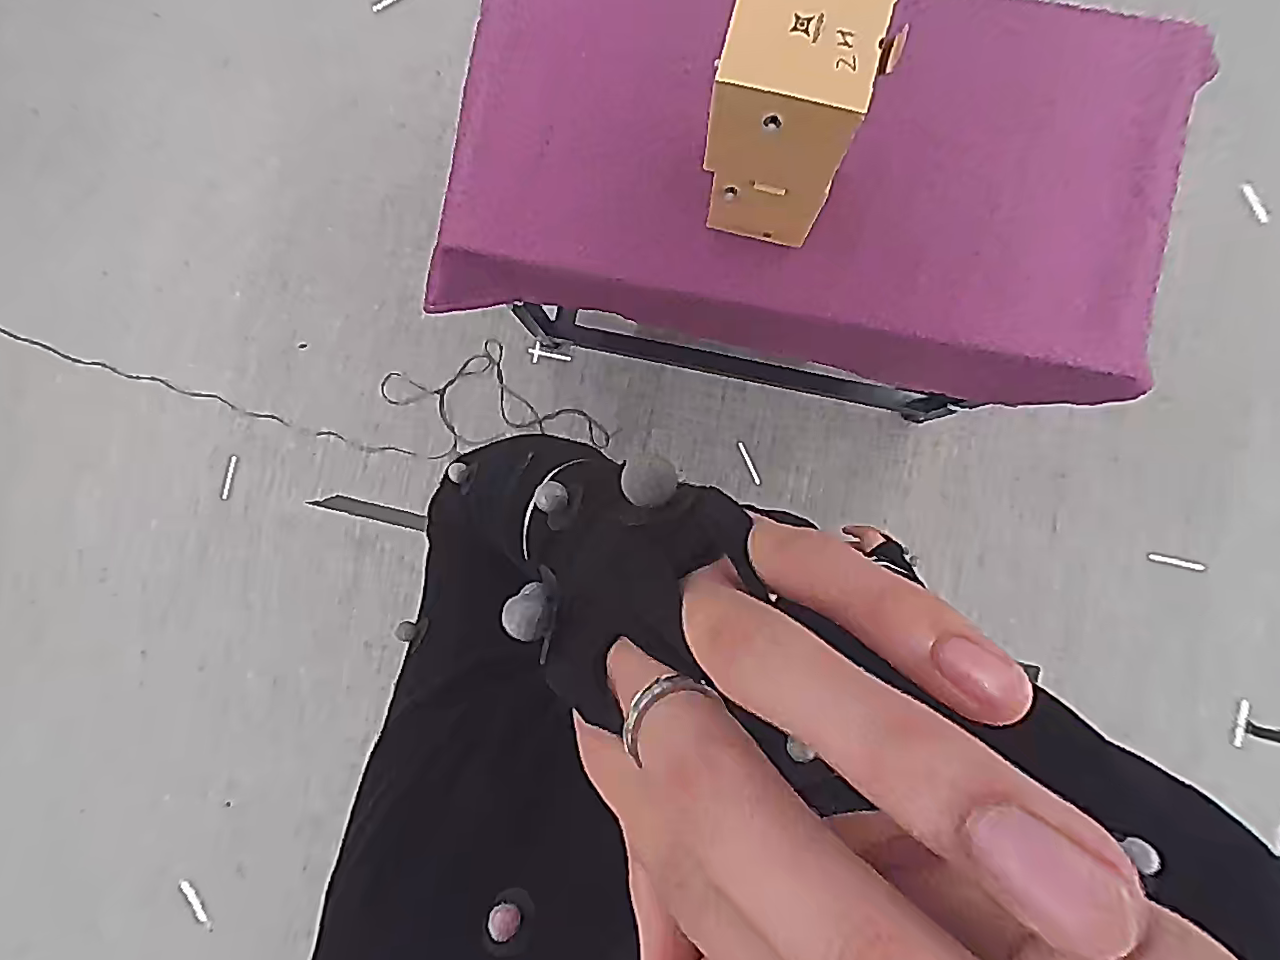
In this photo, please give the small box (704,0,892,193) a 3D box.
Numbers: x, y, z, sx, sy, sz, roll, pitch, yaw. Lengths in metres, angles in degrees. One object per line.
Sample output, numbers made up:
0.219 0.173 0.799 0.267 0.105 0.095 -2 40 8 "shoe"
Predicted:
0.187 -0.499 0.686 0.179 0.176 0.168 15 89 3 "small box"
